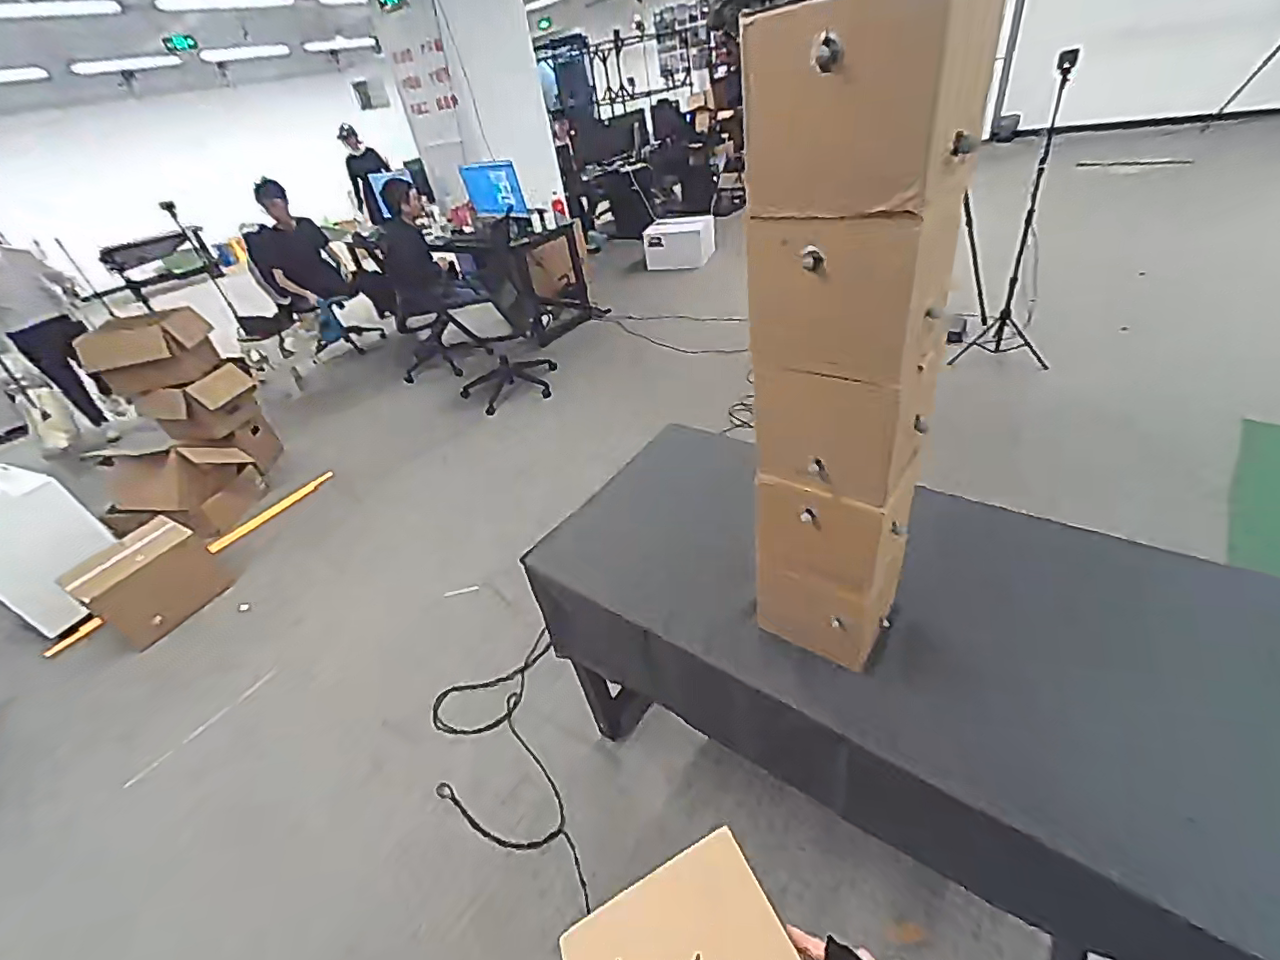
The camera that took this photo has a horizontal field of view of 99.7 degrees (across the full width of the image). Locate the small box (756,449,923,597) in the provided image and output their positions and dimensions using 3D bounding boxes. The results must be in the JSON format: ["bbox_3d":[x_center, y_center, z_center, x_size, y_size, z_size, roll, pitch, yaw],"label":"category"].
[{"bbox_3d":[0.289,0.044,0.795,0.179,0.176,0.168,18,45,34],"label":"small box"}]

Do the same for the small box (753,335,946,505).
[{"bbox_3d":[0.266,-0.090,0.705,0.179,0.176,0.168,20,46,35],"label":"small box"}]

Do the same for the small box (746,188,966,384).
[{"bbox_3d":[0.238,-0.225,0.614,0.179,0.176,0.168,19,46,34],"label":"small box"}]

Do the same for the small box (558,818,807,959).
[{"bbox_3d":[0.058,0.443,0.454,0.179,0.176,0.168,-28,28,-10],"label":"small box"}]

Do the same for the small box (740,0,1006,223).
[{"bbox_3d":[0.215,-0.354,0.516,0.179,0.176,0.168,20,47,37],"label":"small box"}]
